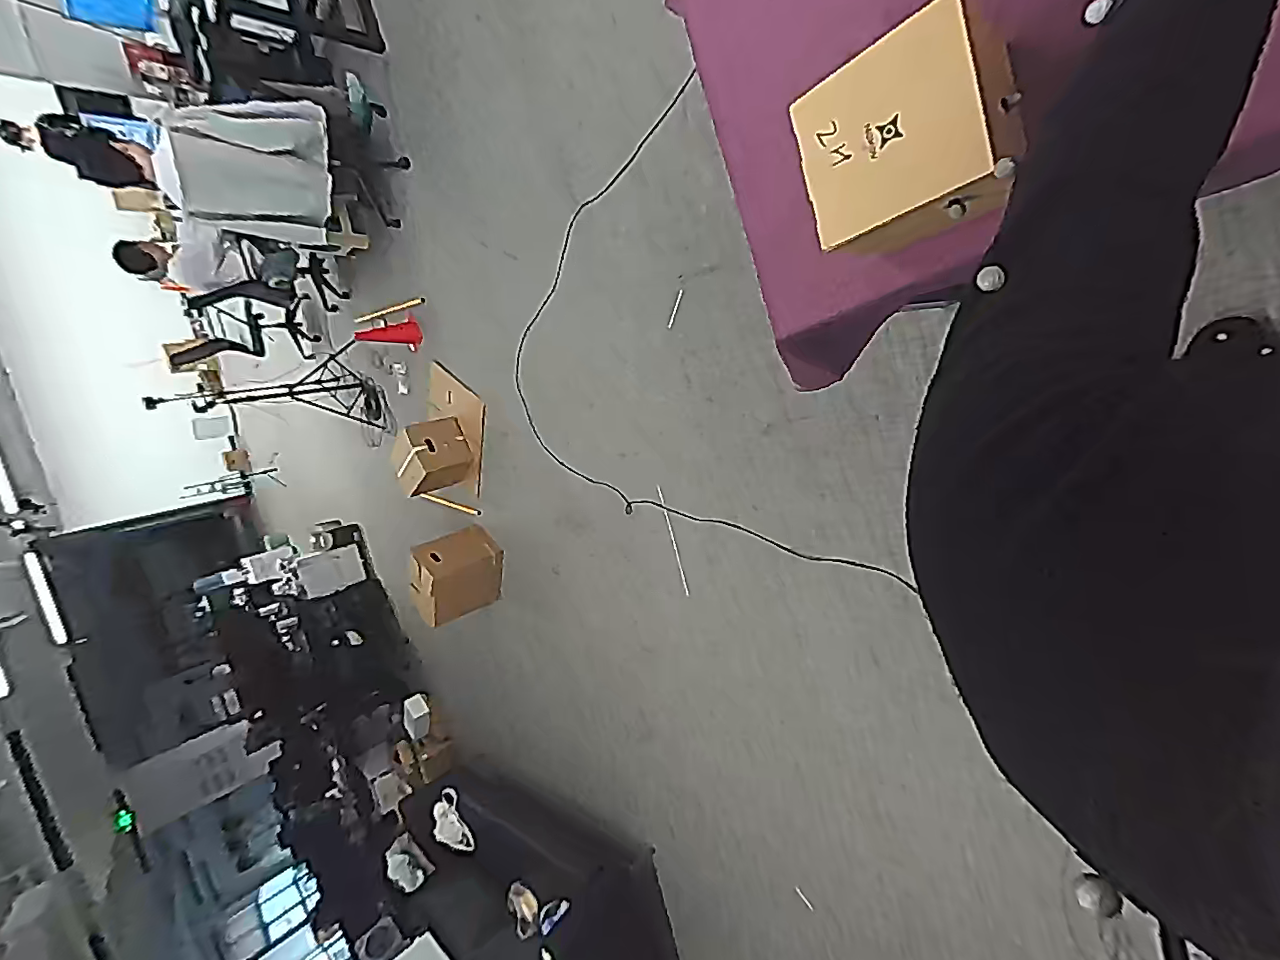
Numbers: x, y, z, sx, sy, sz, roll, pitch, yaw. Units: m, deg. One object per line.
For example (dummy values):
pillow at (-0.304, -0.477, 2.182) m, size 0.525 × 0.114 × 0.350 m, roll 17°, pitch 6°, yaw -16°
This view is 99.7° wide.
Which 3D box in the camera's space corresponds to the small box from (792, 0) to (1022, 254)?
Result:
small box at (0.305, -0.371, 0.608) m, size 0.179 × 0.176 × 0.168 m, roll -10°, pitch 96°, yaw 48°
